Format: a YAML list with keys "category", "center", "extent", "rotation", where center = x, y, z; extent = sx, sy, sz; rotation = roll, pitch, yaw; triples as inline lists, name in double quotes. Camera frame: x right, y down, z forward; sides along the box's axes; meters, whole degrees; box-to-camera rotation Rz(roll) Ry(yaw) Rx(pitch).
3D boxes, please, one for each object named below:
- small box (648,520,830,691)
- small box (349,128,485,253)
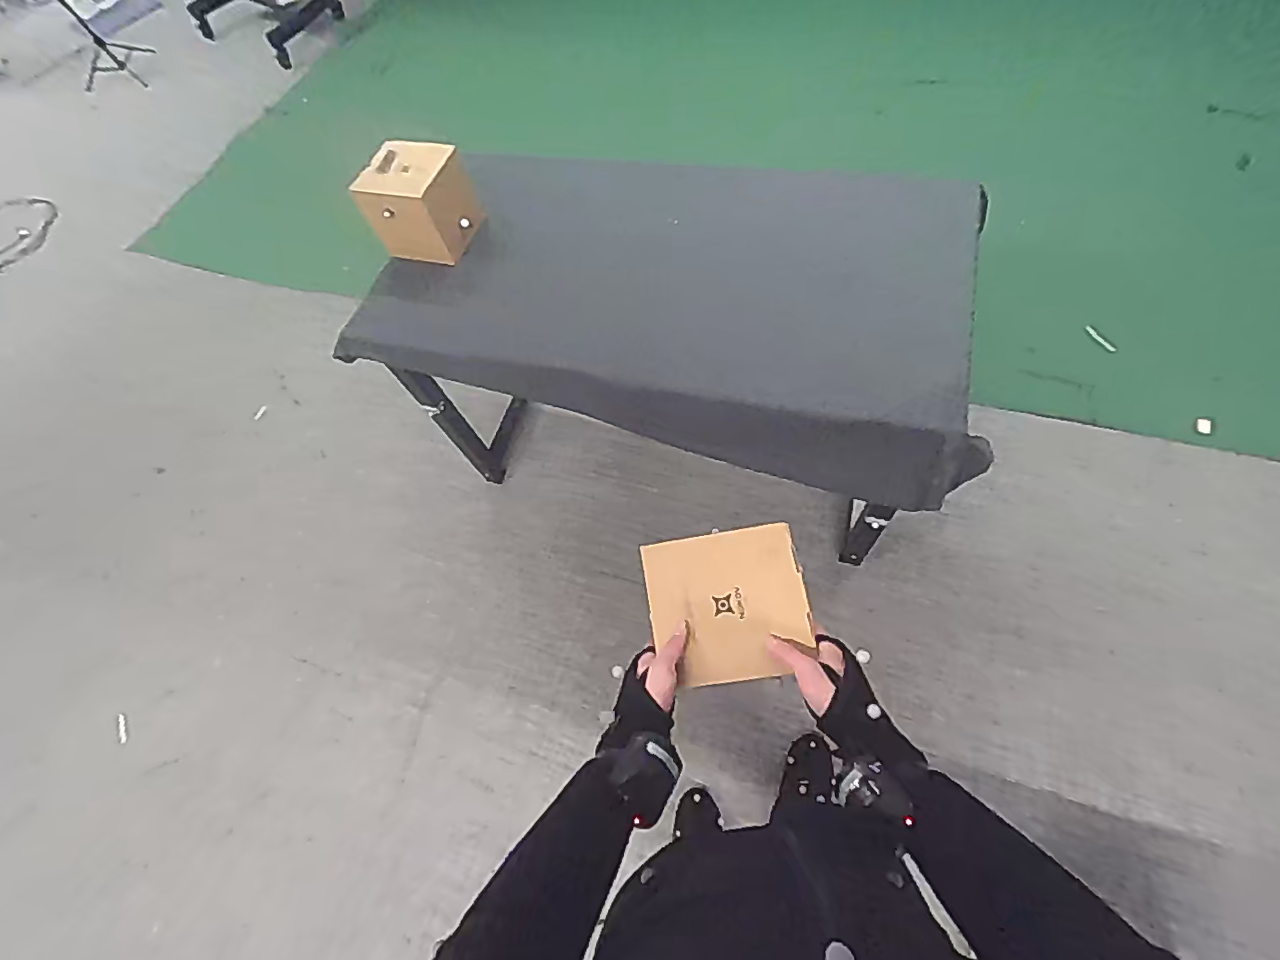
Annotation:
- category: "small box"
  center: [0.115, 0.160, 0.671]
  extent: [0.179, 0.176, 0.168]
  rotation: [-11, 70, 6]
- category: "small box"
  center: [-0.464, -0.611, 1.152]
  extent: [0.179, 0.176, 0.168]
  rotation: [14, 67, 13]
